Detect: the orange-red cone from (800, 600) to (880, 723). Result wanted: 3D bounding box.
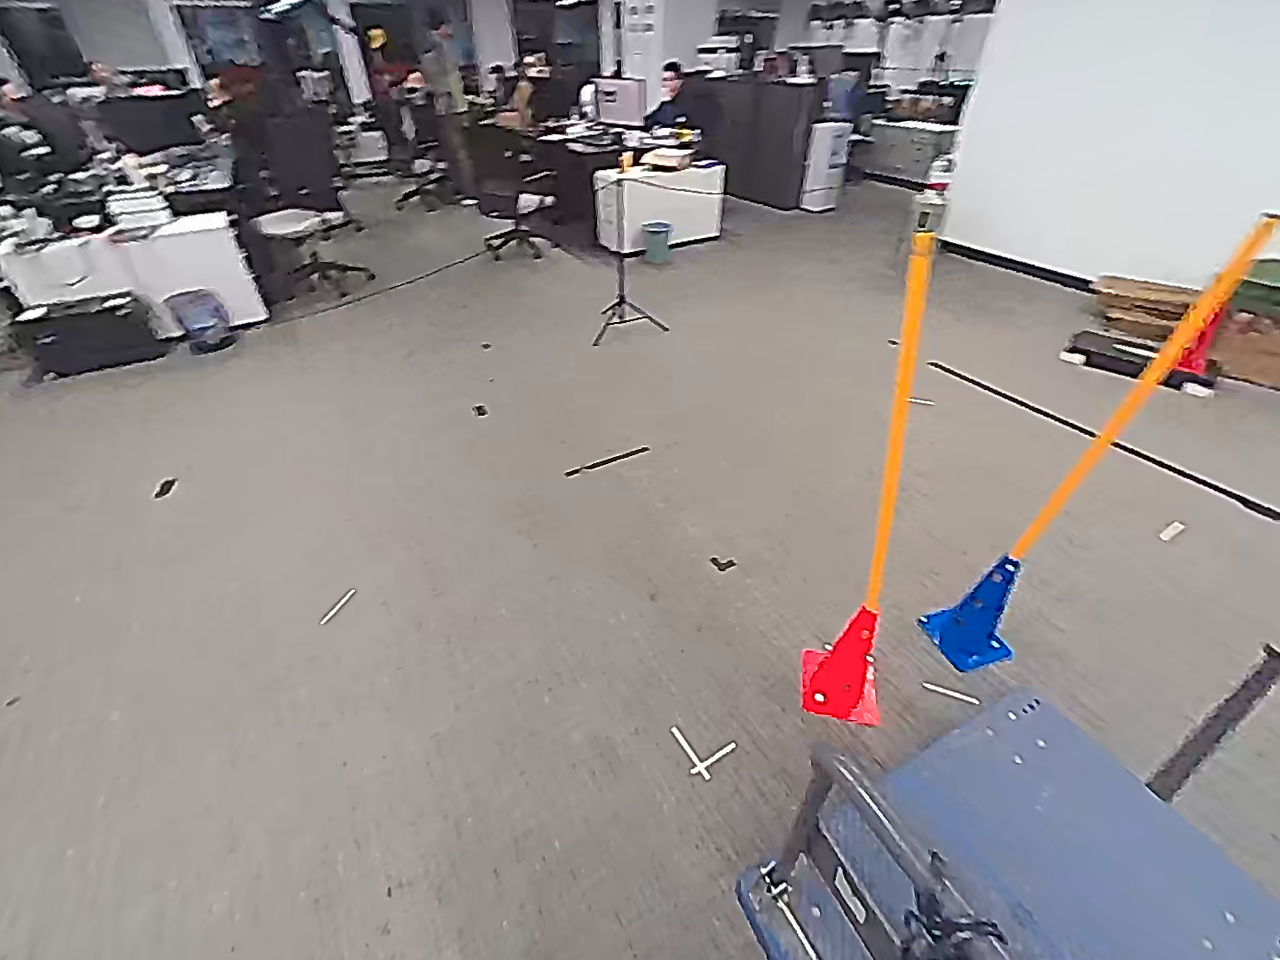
[{"bbox_3d":[0.552,0.434,1.394,0.199,0.360,0.198,10,41,11],"label":"orange-red cone"}]

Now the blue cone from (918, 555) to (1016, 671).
[{"bbox_3d":[0.968,0.347,1.522,0.192,0.380,0.193,-11,40,-11],"label":"blue cone"}]
